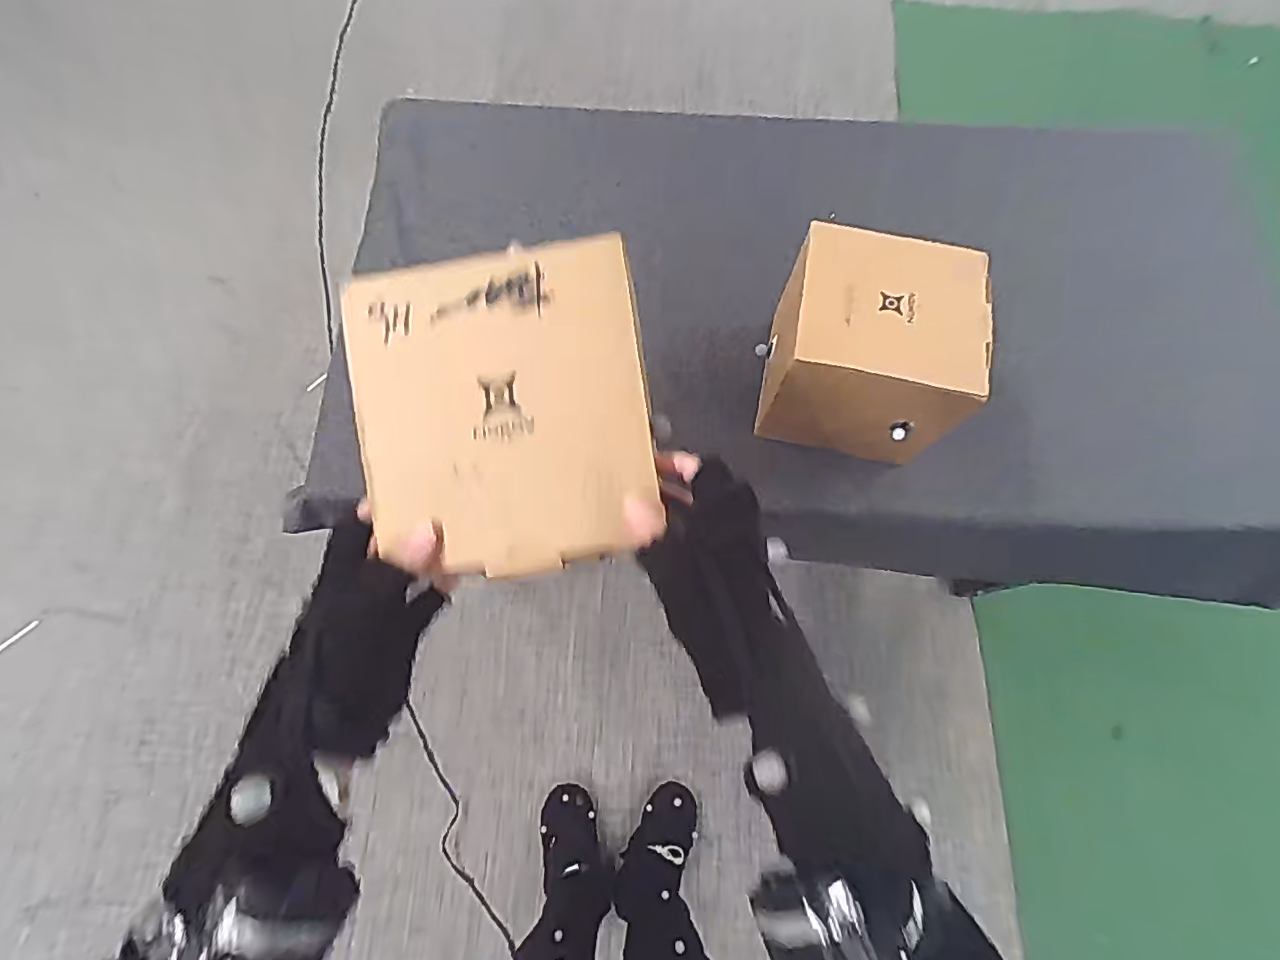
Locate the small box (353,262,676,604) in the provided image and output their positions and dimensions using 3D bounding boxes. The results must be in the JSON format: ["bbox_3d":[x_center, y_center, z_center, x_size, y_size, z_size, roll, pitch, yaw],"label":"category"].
[{"bbox_3d":[-0.067,-0.028,0.385,0.168,0.176,0.179,-9,91,2],"label":"small box"}]

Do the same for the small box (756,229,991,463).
[{"bbox_3d":[0.239,-0.131,0.584,0.179,0.176,0.168,11,68,2],"label":"small box"}]
